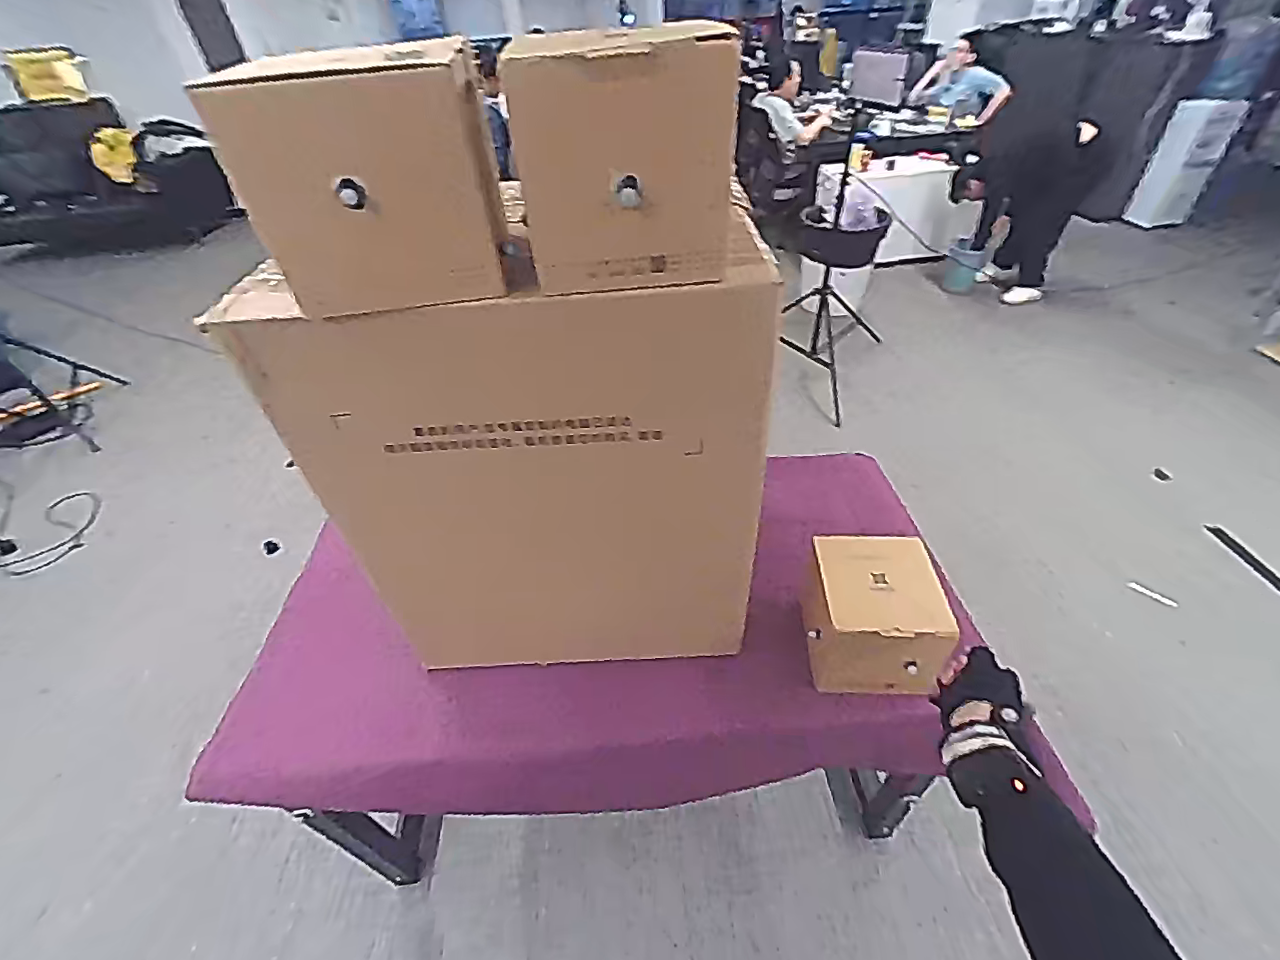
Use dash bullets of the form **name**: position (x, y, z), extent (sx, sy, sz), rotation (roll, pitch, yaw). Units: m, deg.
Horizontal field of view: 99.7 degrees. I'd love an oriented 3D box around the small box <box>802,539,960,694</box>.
- **small box**: position (0.355, 0.210, 0.834), extent (0.168, 0.176, 0.179), rotation (0, 40, 5)
